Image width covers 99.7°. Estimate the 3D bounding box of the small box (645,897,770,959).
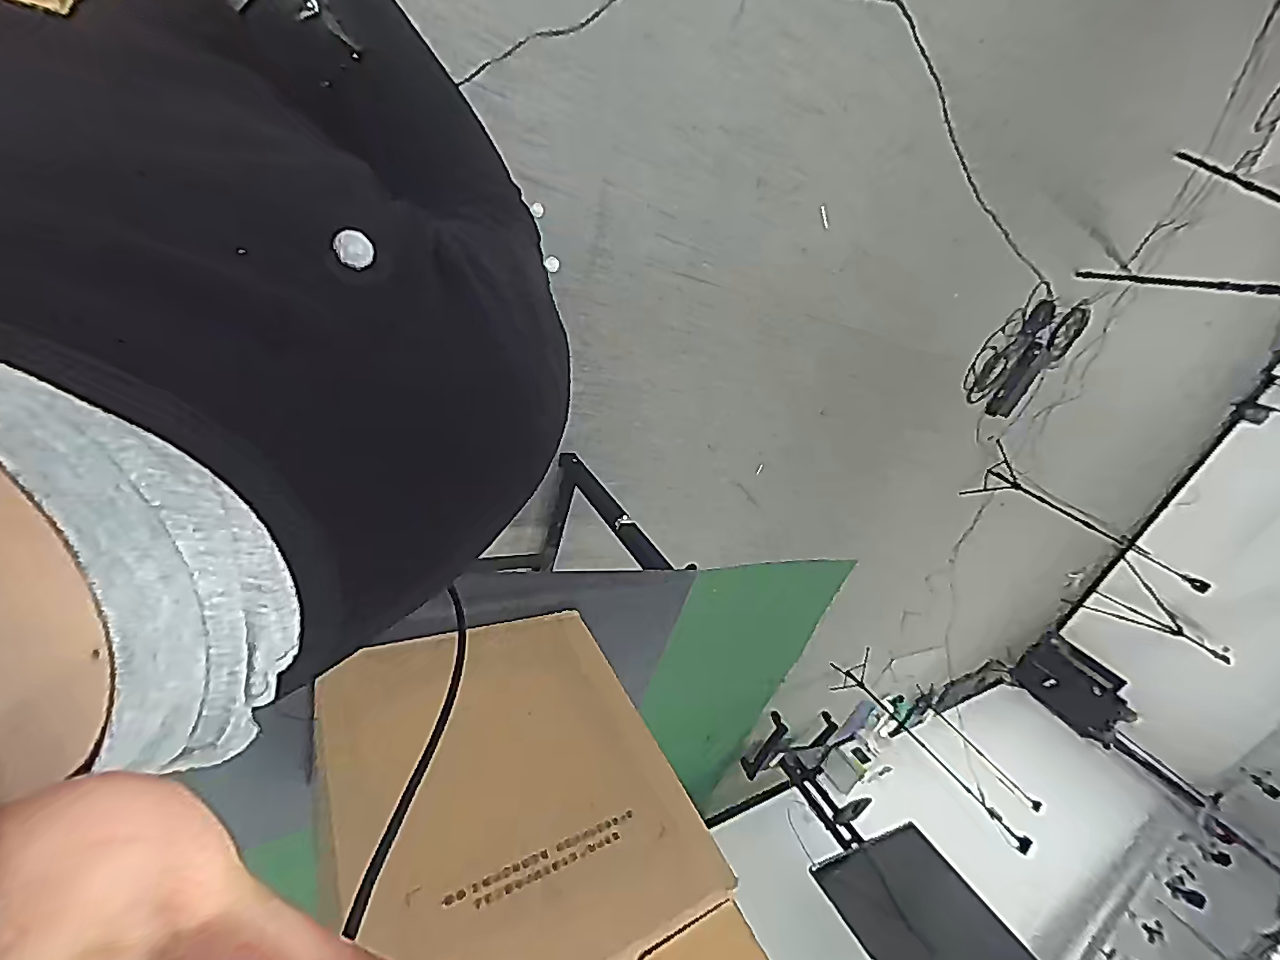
[{"bbox_3d":[0.097,0.753,0.772,0.179,0.176,0.168,-4,122,-37],"label":"small box"}]
